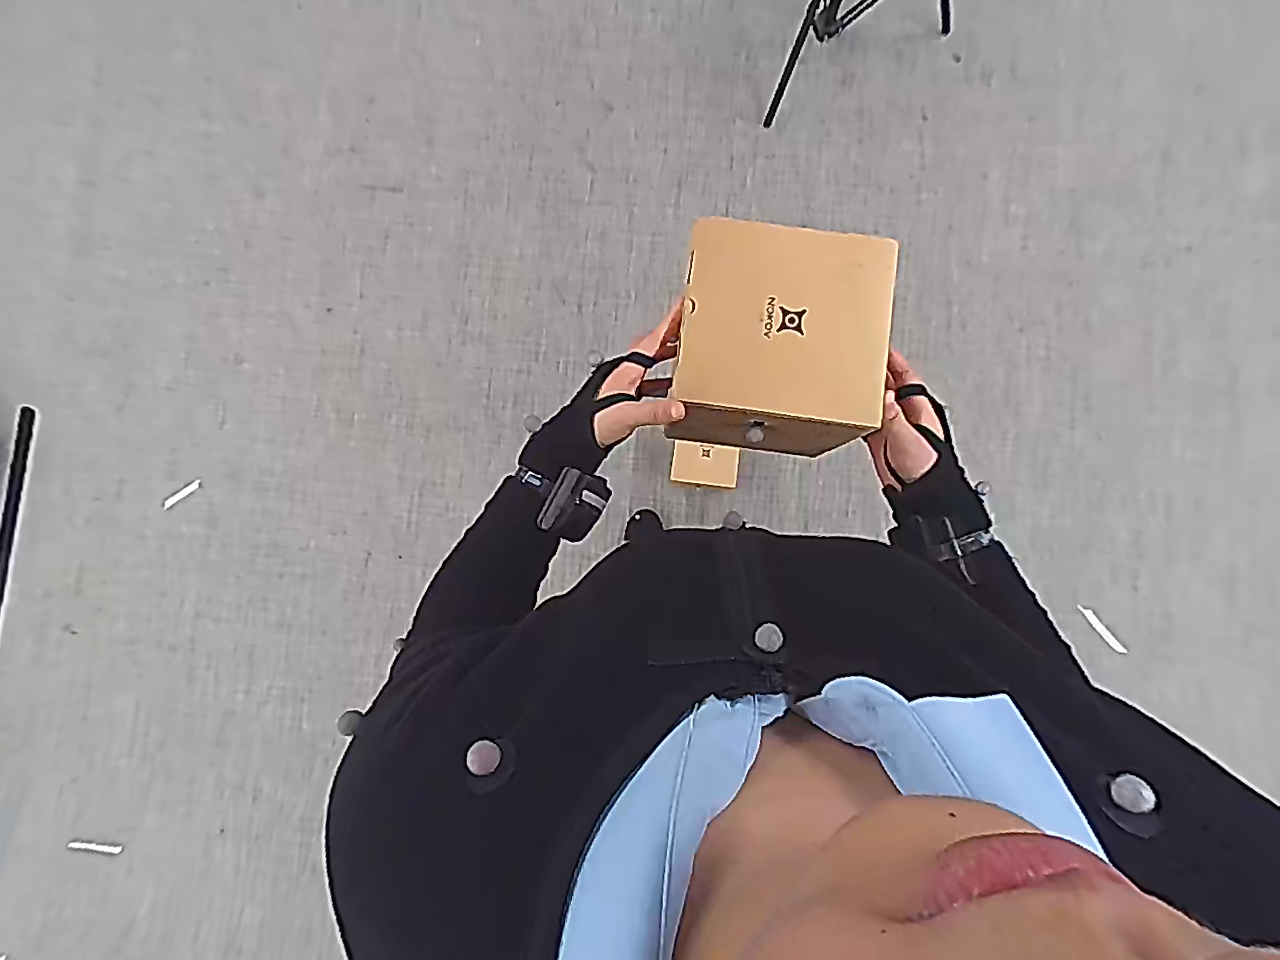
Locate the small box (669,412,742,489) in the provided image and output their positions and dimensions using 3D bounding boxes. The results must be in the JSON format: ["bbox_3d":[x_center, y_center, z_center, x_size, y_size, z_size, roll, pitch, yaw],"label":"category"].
[{"bbox_3d":[0.171,-0.072,1.439,0.168,0.176,0.179,8,86,3],"label":"small box"}]
